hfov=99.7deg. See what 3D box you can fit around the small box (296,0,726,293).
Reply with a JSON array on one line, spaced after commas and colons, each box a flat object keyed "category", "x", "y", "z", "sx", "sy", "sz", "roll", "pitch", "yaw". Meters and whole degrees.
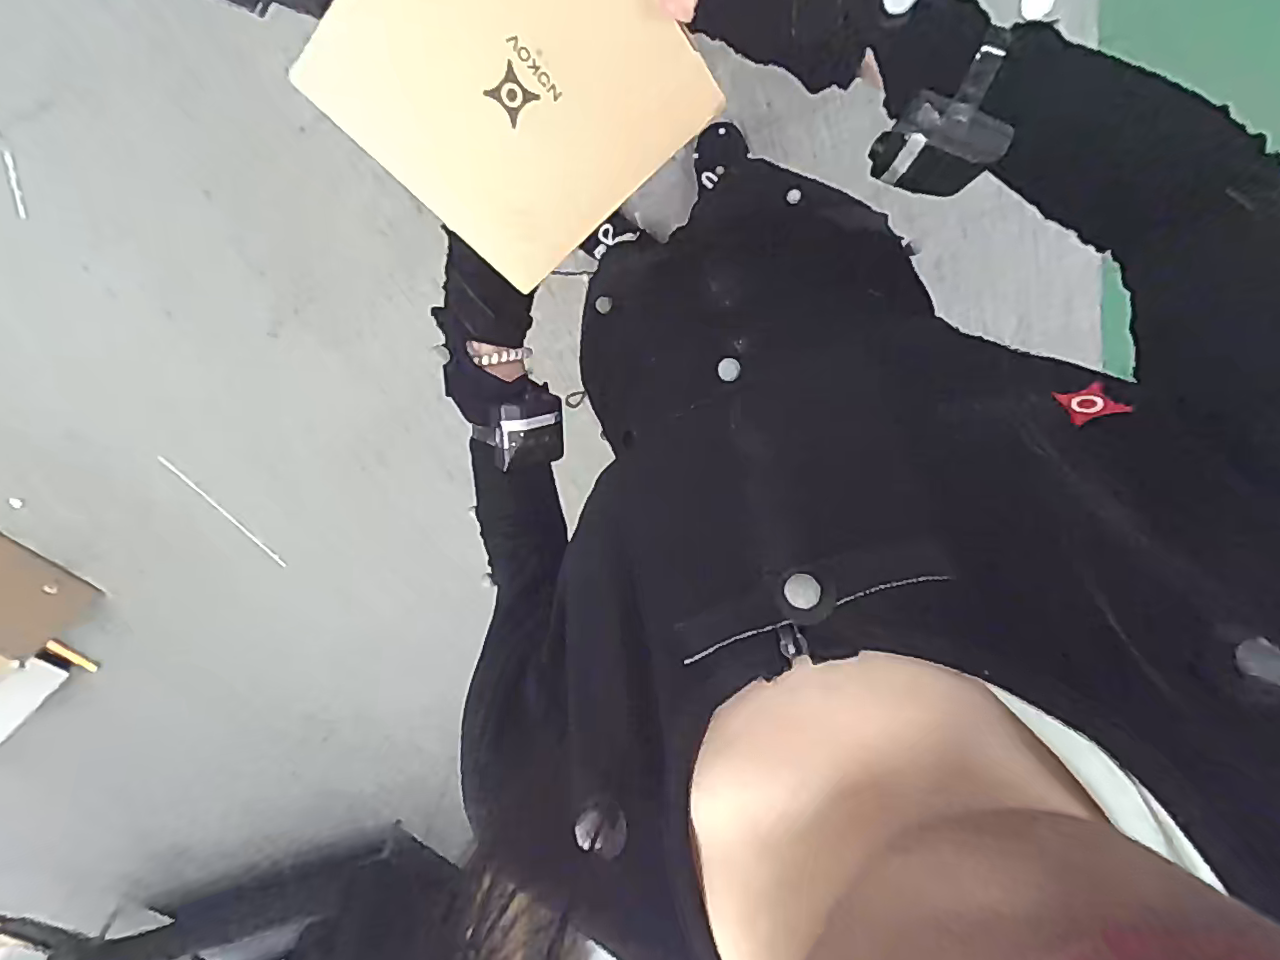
[{"category": "small box", "x": -0.072, "y": -0.267, "z": 0.351, "sx": 0.179, "sy": 0.176, "sz": 0.168, "roll": -33, "pitch": 130, "yaw": 24}]
